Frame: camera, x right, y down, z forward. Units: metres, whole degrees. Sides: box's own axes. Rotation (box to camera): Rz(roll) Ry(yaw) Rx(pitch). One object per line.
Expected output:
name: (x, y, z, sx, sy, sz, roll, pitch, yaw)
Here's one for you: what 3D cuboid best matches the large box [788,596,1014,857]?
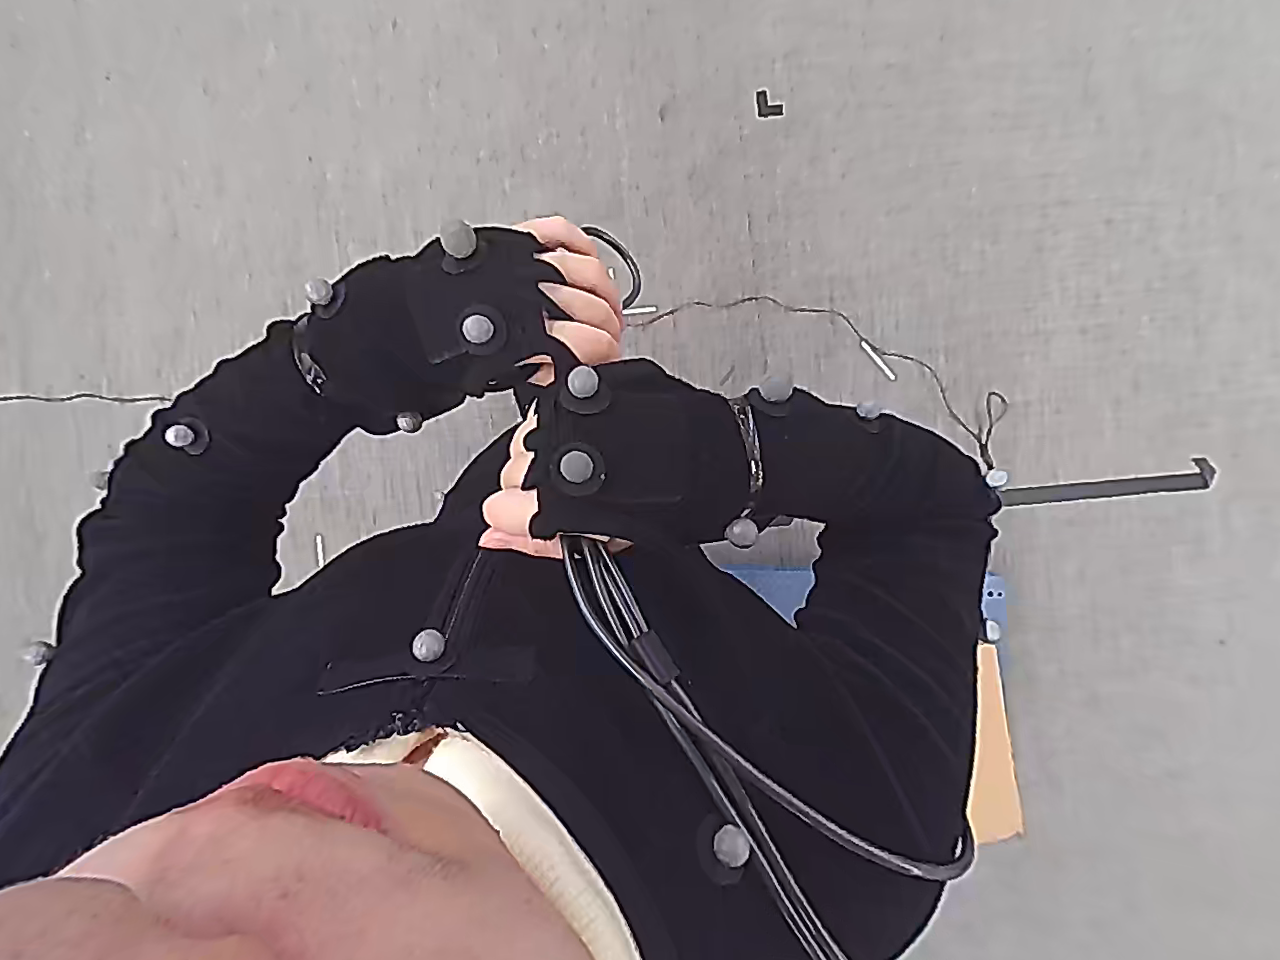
large box: (0.559, 0.520, 1.215, 0.320, 0.320, 0.408, -10, 94, -1)
